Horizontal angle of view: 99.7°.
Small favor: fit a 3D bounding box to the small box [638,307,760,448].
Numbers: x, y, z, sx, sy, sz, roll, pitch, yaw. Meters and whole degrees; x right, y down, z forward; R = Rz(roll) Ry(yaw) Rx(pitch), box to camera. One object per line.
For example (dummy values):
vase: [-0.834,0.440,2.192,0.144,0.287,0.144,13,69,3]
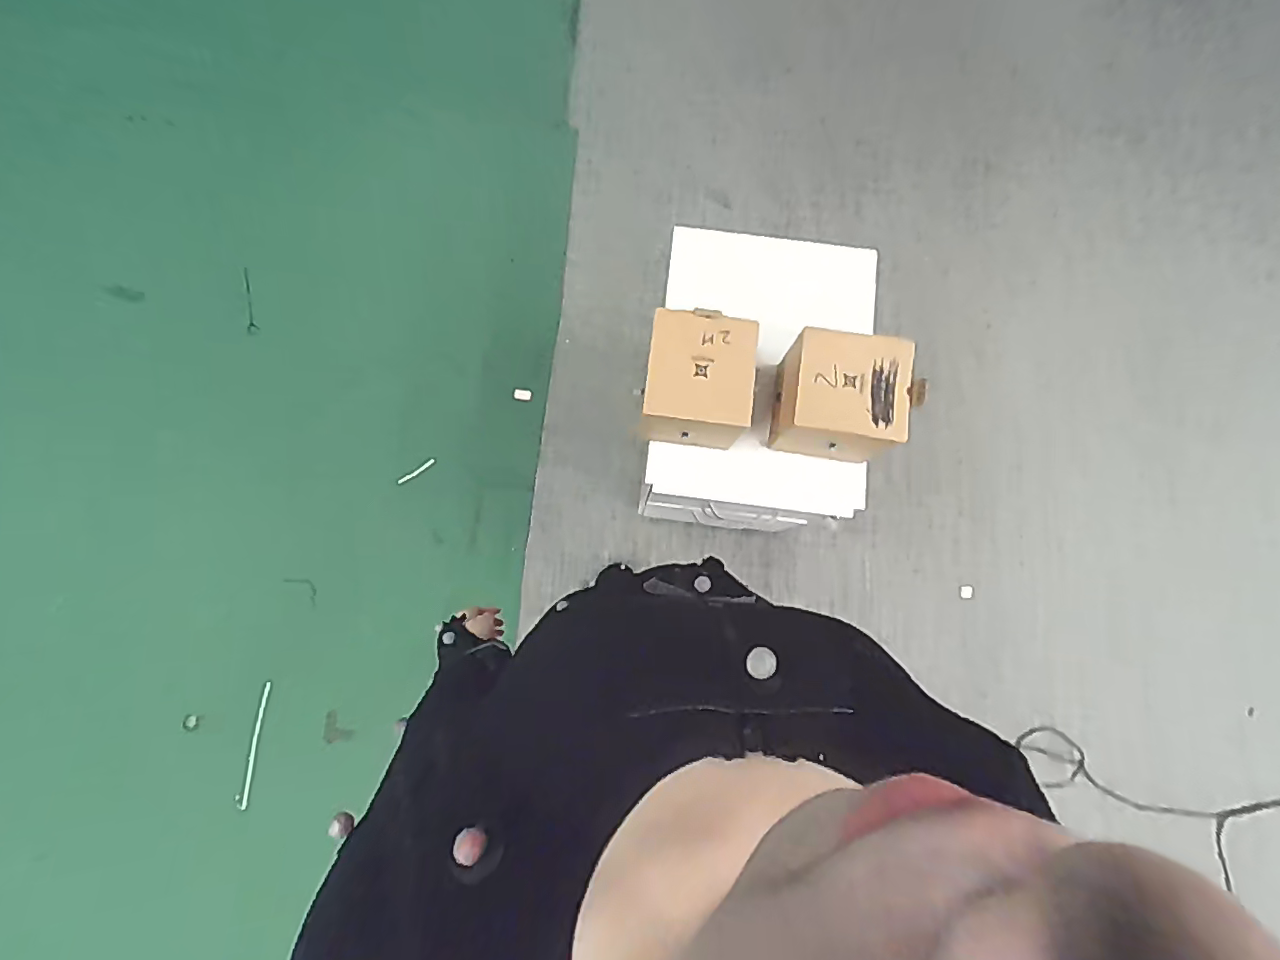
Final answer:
small box: [0.090,-0.159,0.899,0.168,0.176,0.179,8,80,-3]
